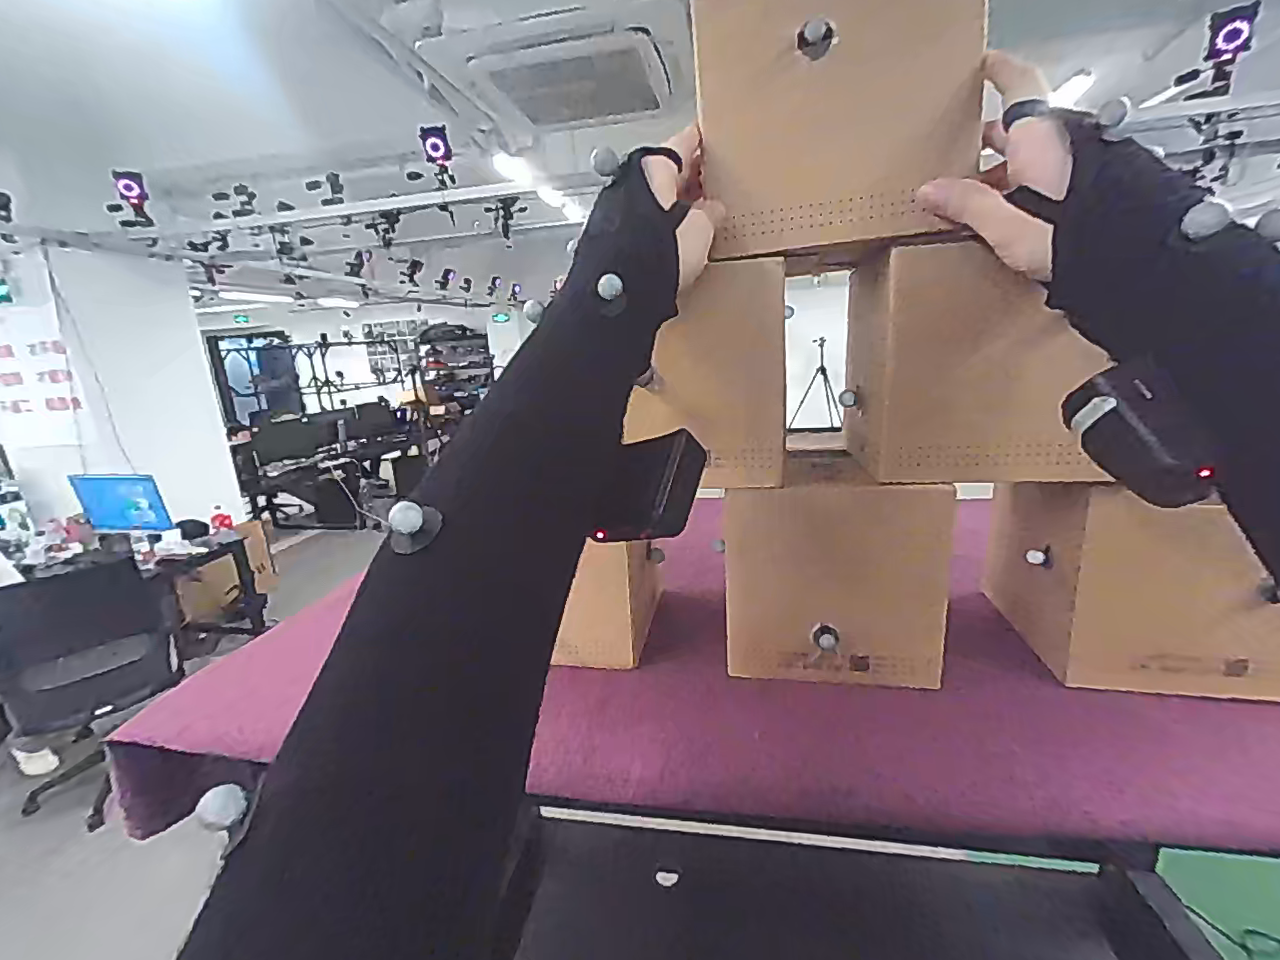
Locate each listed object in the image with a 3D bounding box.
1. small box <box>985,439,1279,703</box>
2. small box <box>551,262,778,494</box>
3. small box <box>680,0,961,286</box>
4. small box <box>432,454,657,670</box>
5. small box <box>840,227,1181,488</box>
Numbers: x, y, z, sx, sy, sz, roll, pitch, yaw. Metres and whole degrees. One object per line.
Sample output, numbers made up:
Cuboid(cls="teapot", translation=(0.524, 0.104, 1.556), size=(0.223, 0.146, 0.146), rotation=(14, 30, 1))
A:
Cuboid(cls="small box", translation=(0.415, 0.064, 0.456), size=(0.168, 0.176, 0.179), rotation=(0, 13, 15))
Cuboid(cls="small box", translation=(0.036, -0.086, 0.486), size=(0.168, 0.176, 0.179), rotation=(-1, 13, 13))
Cuboid(cls="small box", translation=(0.134, -0.251, 0.426), size=(0.179, 0.176, 0.168), rotation=(-3, 13, 12))
Cuboid(cls="small box", translation=(-0.080, 0.074, 0.551), size=(0.179, 0.176, 0.168), rotation=(0, 14, 11))
Cuboid(cls="small box", translation=(0.267, -0.092, 0.440), size=(0.179, 0.176, 0.168), rotation=(-1, 13, 13))
